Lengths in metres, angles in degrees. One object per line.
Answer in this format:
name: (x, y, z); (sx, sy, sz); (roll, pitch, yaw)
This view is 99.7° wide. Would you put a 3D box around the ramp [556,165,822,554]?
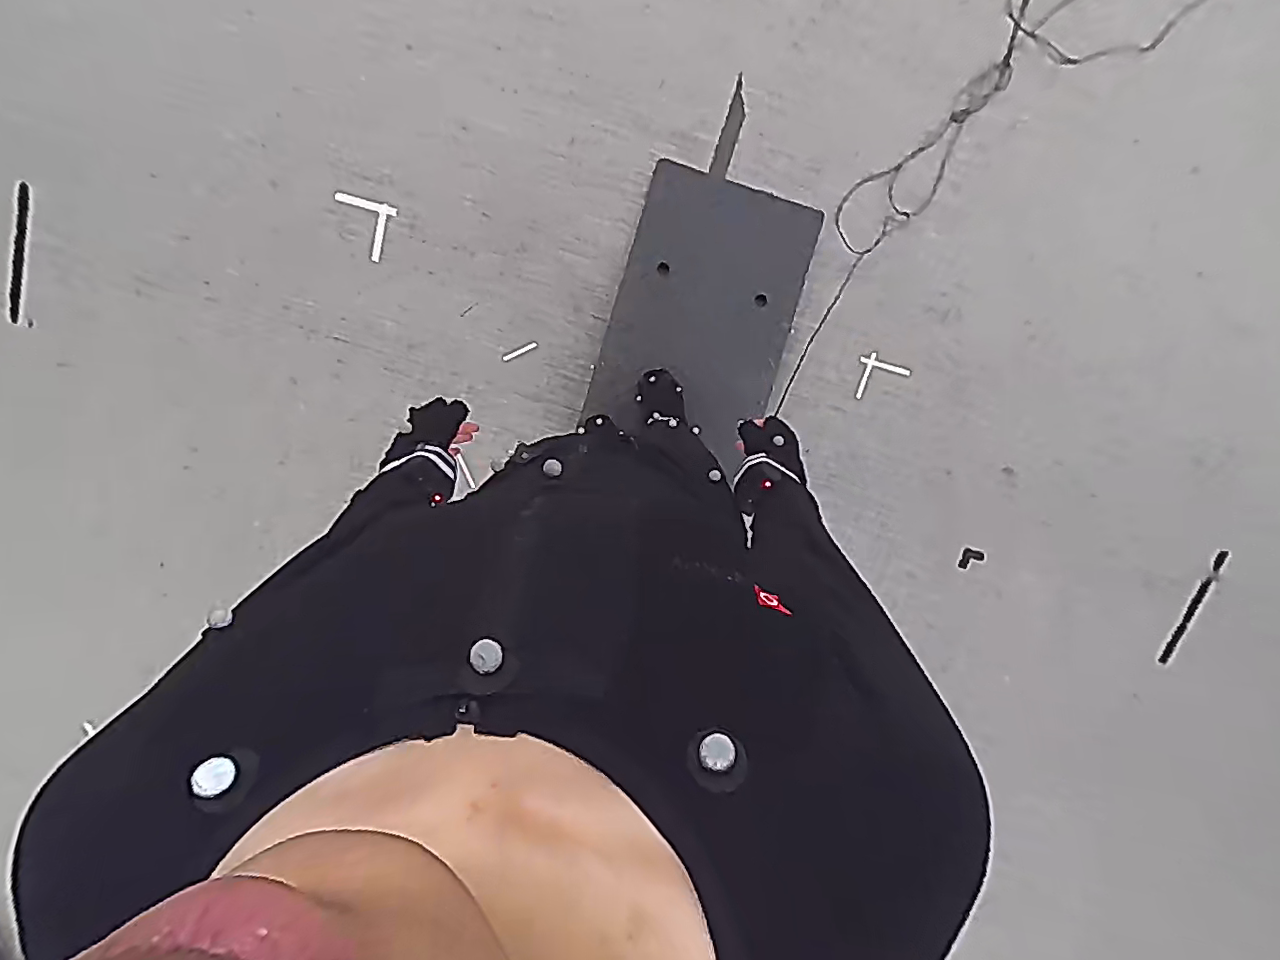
ramp: (0.137, -0.335, 1.500); (0.509, 0.206, 0.991); (15, 99, -1)
